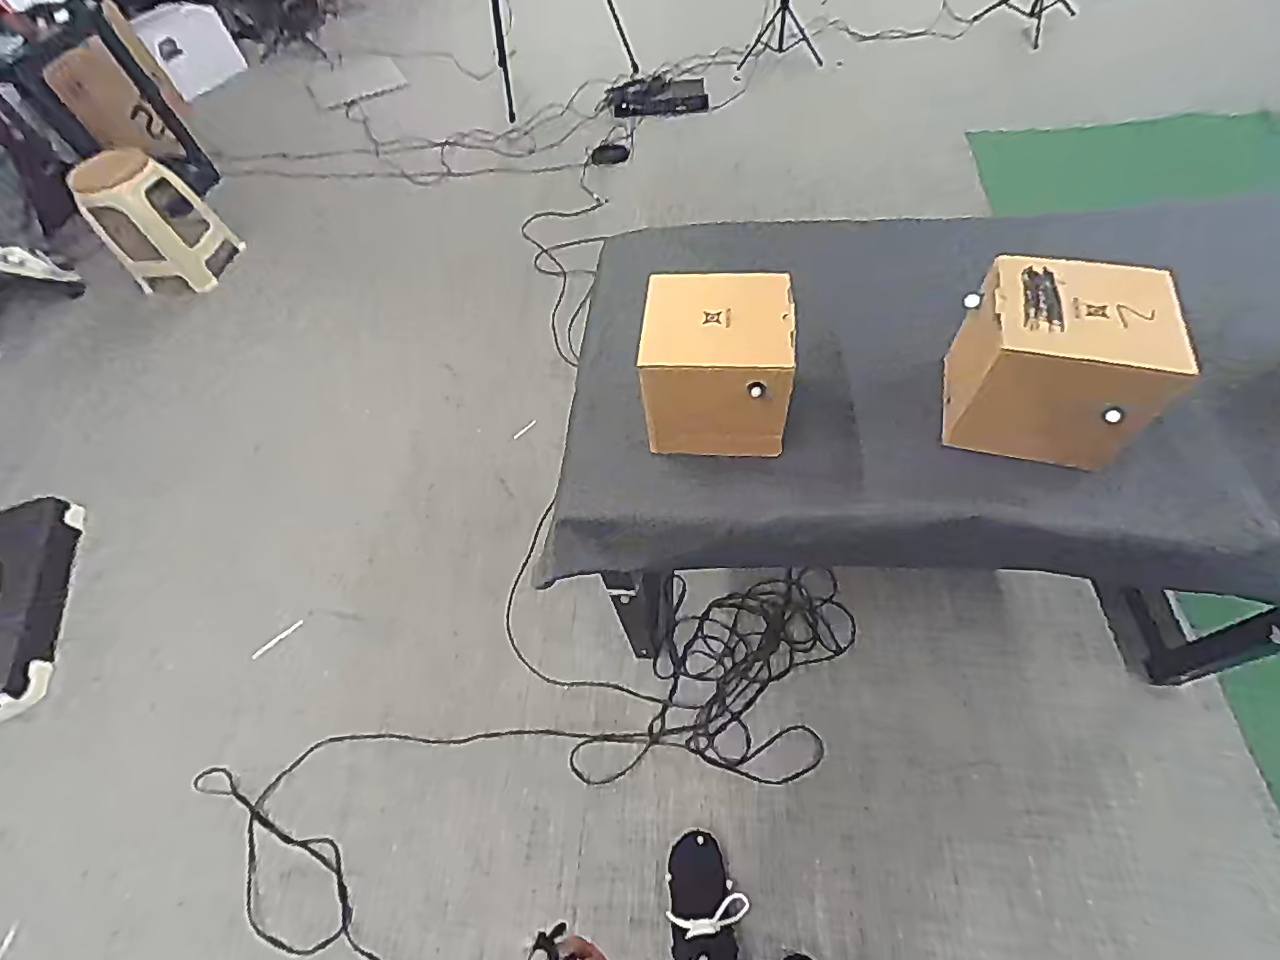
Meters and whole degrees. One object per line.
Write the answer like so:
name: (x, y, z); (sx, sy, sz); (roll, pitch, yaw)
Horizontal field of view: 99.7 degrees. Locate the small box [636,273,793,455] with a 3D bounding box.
small box: (0.097, -0.146, 0.705); (0.179, 0.176, 0.168); (2, 57, 8)
